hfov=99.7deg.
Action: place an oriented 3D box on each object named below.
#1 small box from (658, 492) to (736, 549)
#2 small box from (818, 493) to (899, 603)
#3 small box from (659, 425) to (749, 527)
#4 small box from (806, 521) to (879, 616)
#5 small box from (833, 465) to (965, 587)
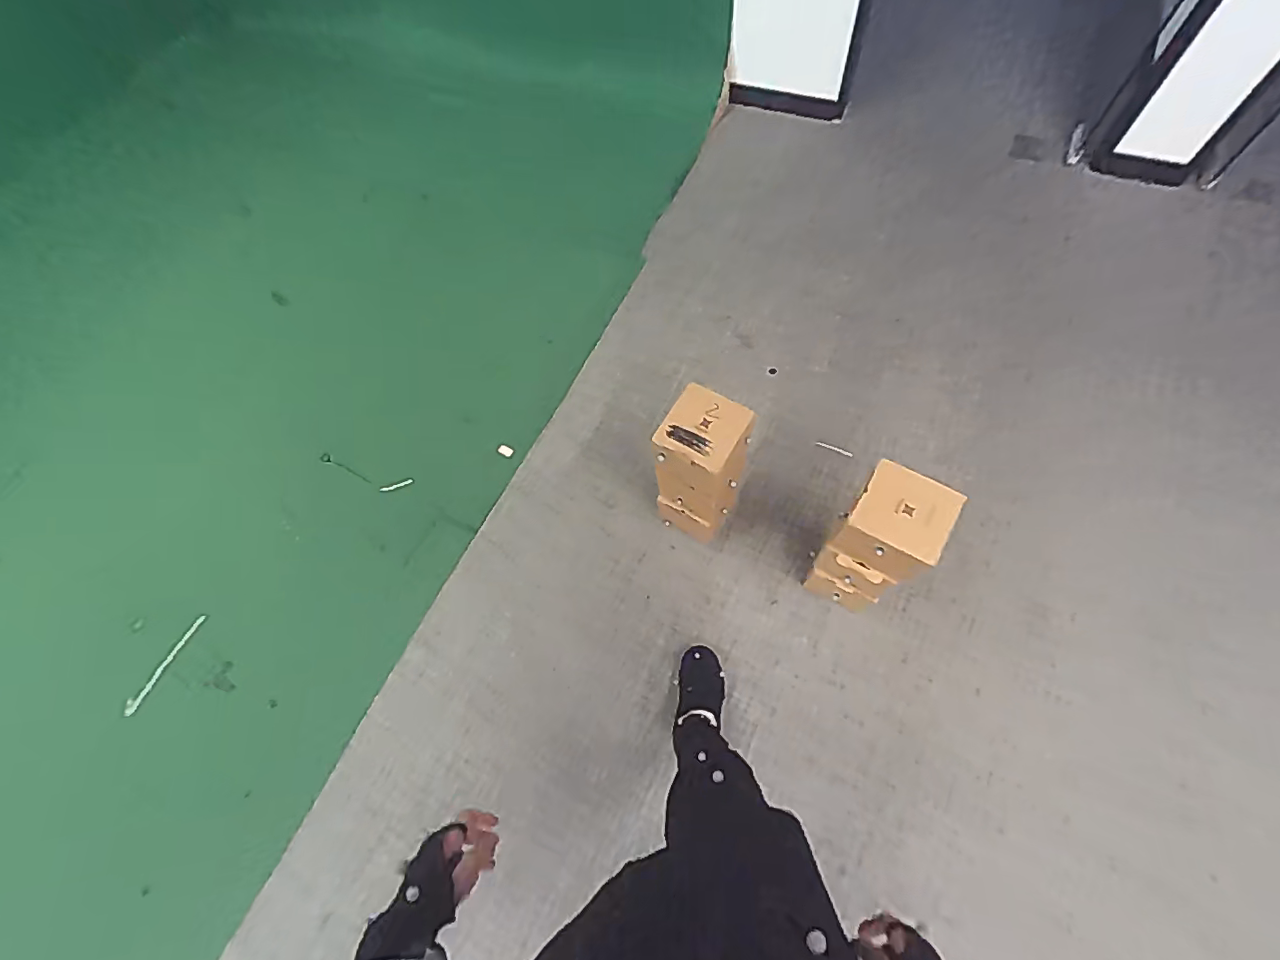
[{"bbox_3d":[0.170,0.075,1.562,0.168,0.176,0.179,28,72,16],"label":"small box"},{"bbox_3d":[0.540,0.165,1.280,0.168,0.176,0.179,29,73,18],"label":"small box"},{"bbox_3d":[0.163,-0.006,1.402,0.168,0.176,0.179,28,73,17],"label":"small box"},{"bbox_3d":[0.553,0.239,1.427,0.168,0.176,0.179,25,72,16],"label":"small box"},{"bbox_3d":[0.529,0.103,1.130,0.179,0.176,0.168,29,73,17],"label":"small box"}]
